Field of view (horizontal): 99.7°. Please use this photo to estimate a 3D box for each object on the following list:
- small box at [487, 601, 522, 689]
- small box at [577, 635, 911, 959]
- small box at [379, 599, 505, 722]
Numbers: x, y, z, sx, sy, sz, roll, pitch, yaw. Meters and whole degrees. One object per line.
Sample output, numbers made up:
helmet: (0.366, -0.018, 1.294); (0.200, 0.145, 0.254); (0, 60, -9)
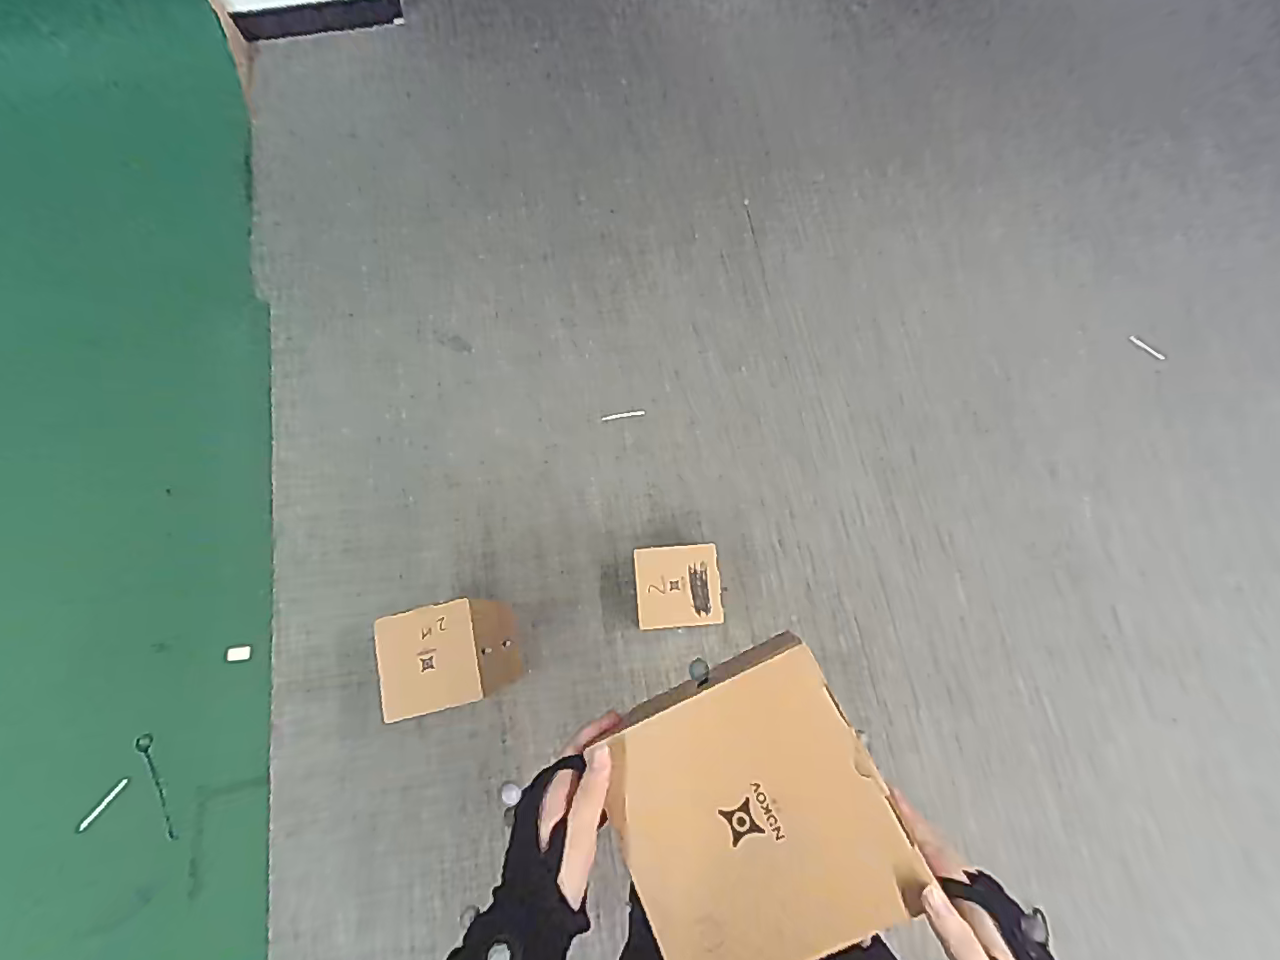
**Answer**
small box: (-0.359, 0.364, 1.166); (0.168, 0.176, 0.179); (-11, 75, -4)
small box: (0.079, 0.240, 0.439); (0.179, 0.176, 0.168); (-28, 73, 6)
small box: (-0.360, 0.326, 1.006); (0.168, 0.176, 0.179); (-12, 76, -4)
